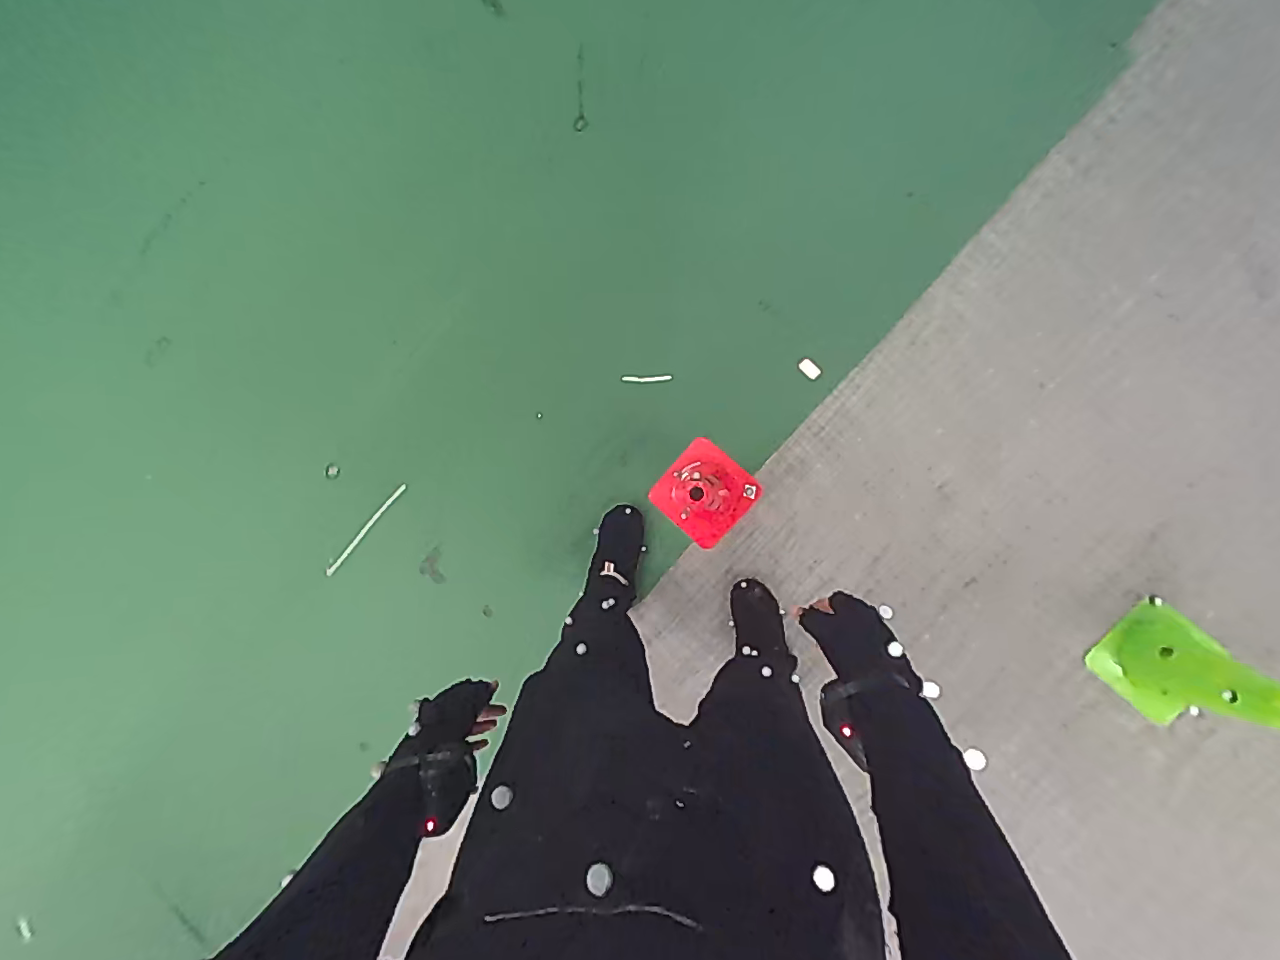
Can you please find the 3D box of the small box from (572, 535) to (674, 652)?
[{"bbox_3d":[-0.038,0.253,1.242,0.168,0.176,0.179,28,98,-8],"label":"small box"}]

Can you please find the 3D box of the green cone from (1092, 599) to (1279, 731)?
[{"bbox_3d":[1.030,0.367,0.923,0.202,0.368,0.200,40,95,7],"label":"green cone"}]
